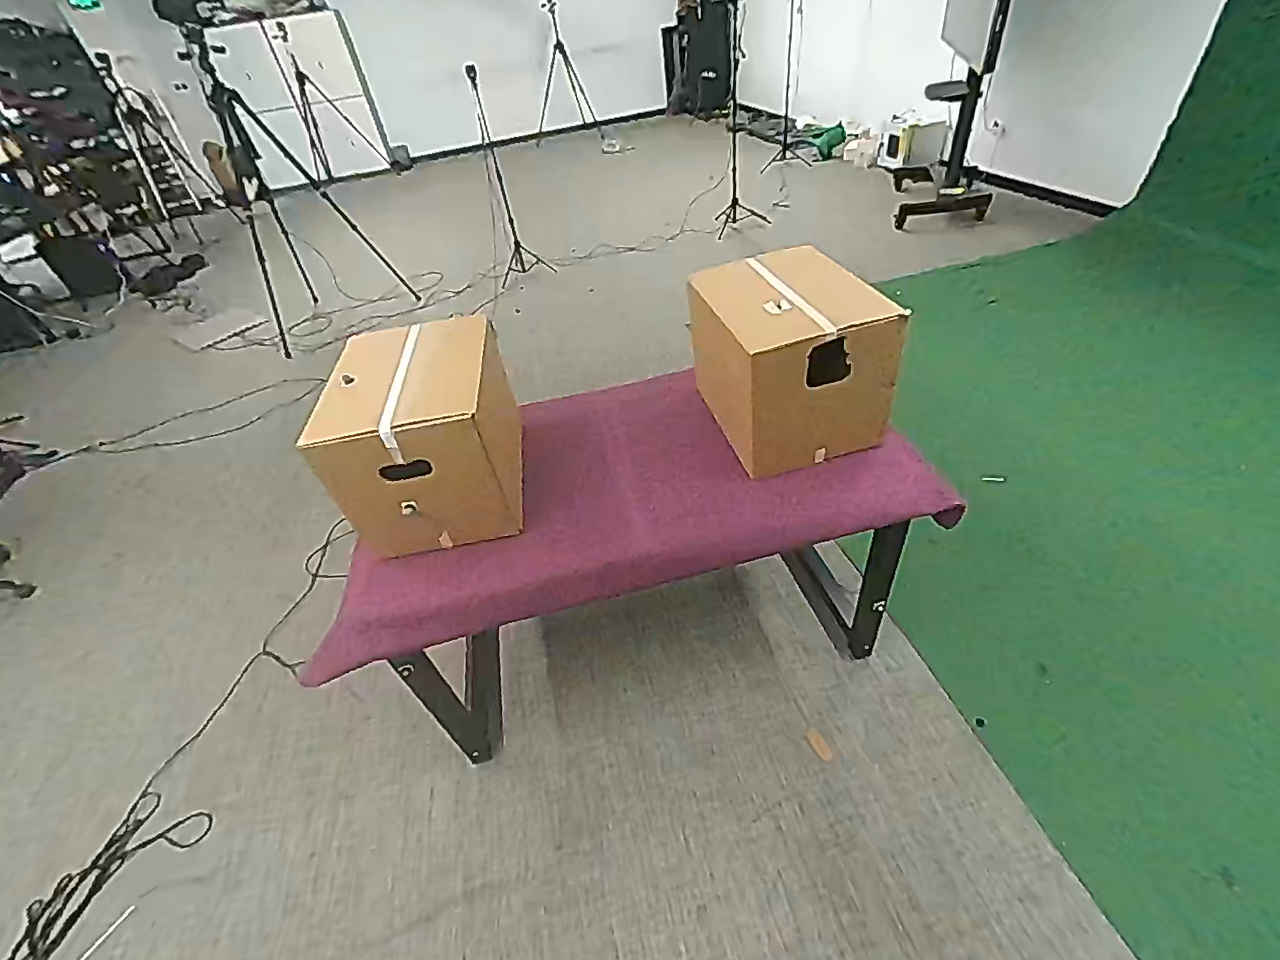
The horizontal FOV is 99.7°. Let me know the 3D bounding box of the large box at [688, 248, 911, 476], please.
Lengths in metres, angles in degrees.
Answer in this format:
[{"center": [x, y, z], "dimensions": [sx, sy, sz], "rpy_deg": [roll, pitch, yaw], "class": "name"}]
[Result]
[{"center": [0.324, -0.275, 1.222], "dimensions": [0.320, 0.320, 0.408], "rpy_deg": [-16, 43, -4], "class": "large box"}]
